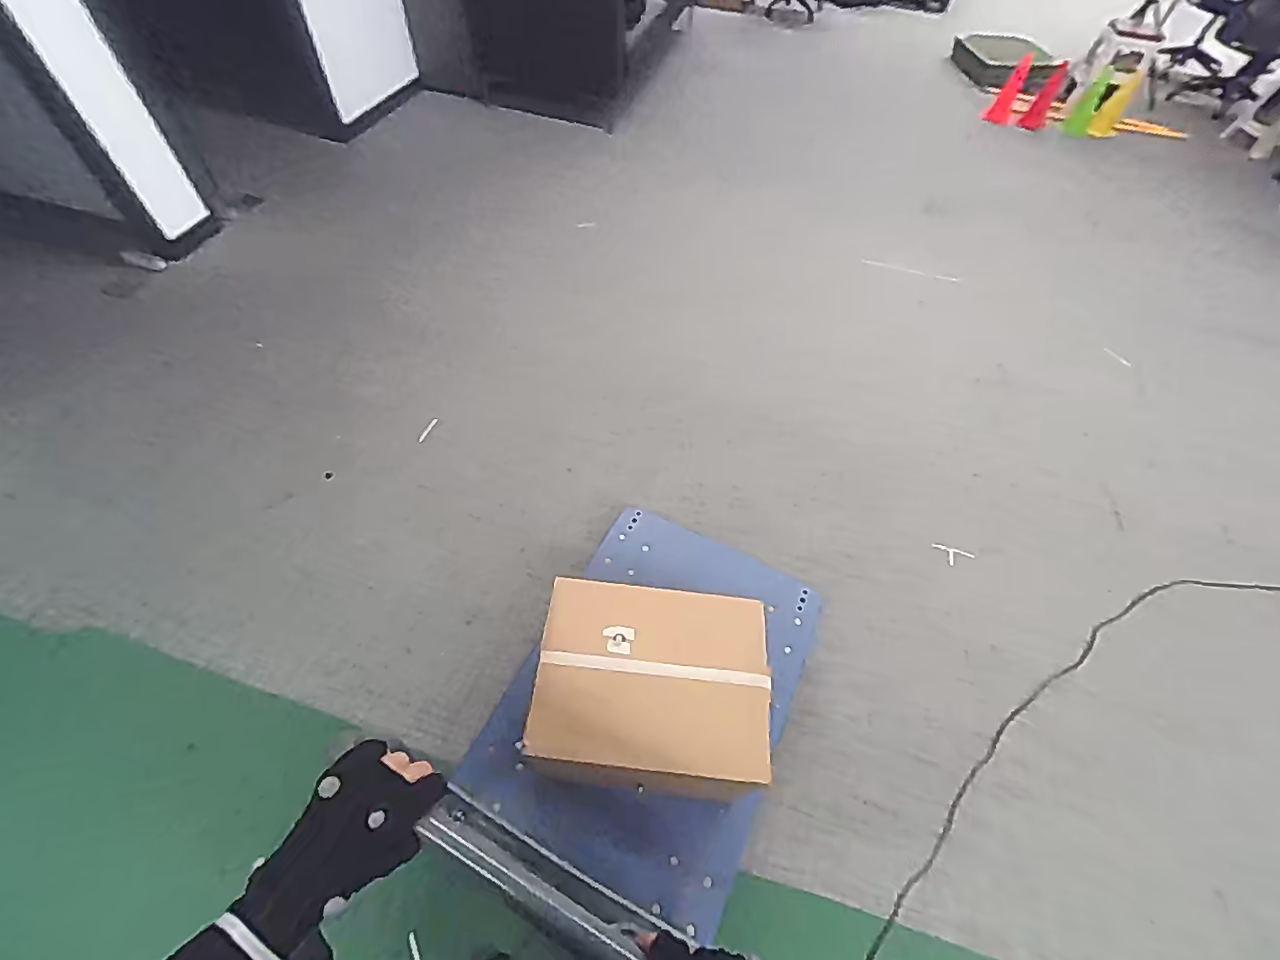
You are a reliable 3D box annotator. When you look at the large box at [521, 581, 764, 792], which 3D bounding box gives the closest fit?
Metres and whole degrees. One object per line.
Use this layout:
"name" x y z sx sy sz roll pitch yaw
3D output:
"large box" 0.011 0.421 1.079 0.408 0.320 0.320 6 54 1
